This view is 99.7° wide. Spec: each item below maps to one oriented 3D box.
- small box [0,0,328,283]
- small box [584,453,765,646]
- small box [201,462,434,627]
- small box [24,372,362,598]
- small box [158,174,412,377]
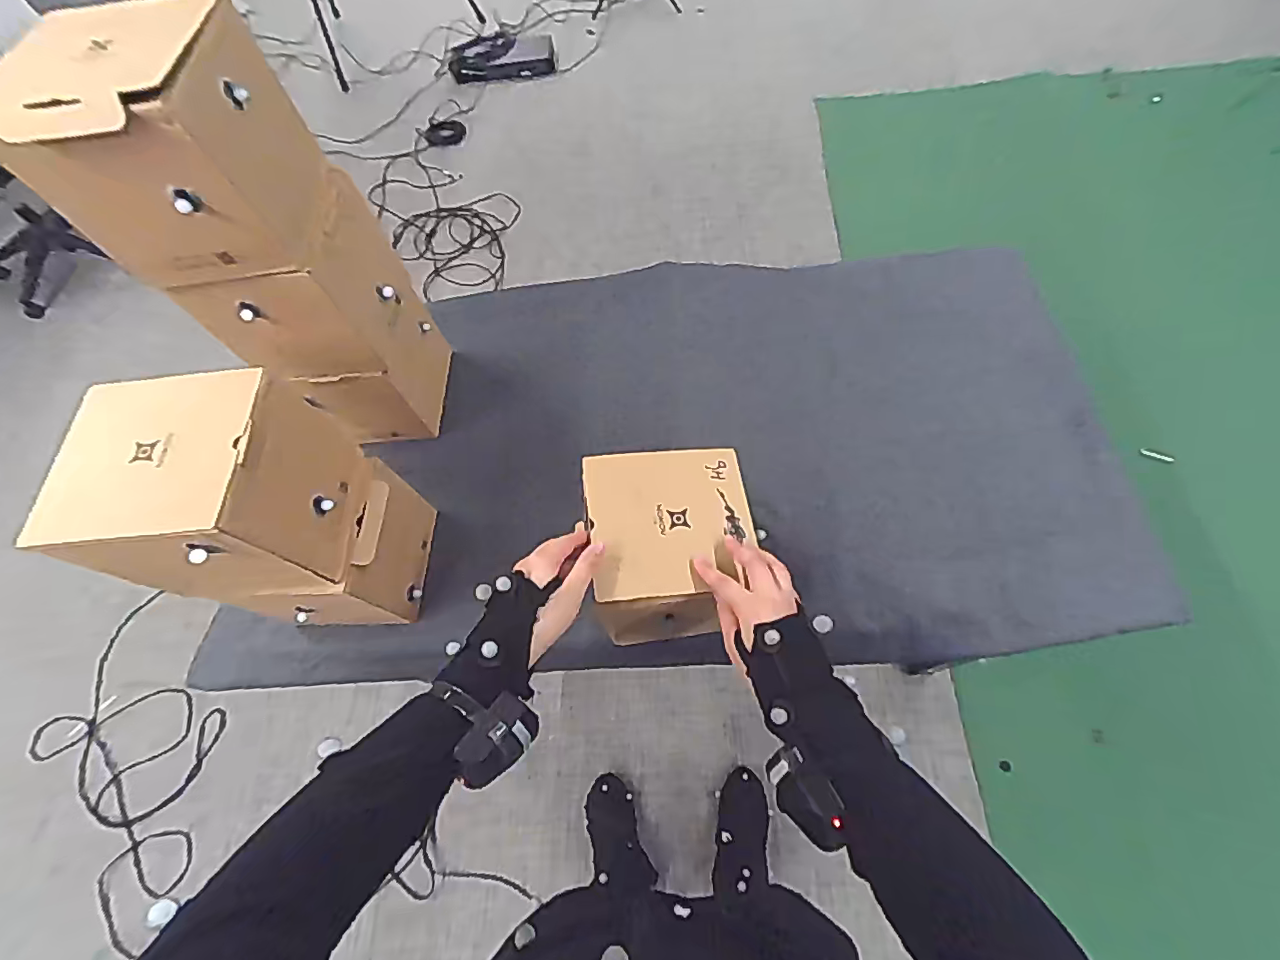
[{"bbox_3d":[-0.437,-0.311,0.522,0.168,0.176,0.179,-6,63,2],"label":"small box"},{"bbox_3d":[0.040,0.091,0.641,0.179,0.176,0.168,-9,62,2],"label":"small box"},{"bbox_3d":[-0.387,0.088,0.688,0.179,0.176,0.168,-2,64,5],"label":"small box"},{"bbox_3d":[-0.418,0.015,0.545,0.179,0.176,0.168,-6,64,3],"label":"small box"},{"bbox_3d":[-0.415,-0.241,0.667,0.179,0.176,0.168,-3,65,4],"label":"small box"}]
